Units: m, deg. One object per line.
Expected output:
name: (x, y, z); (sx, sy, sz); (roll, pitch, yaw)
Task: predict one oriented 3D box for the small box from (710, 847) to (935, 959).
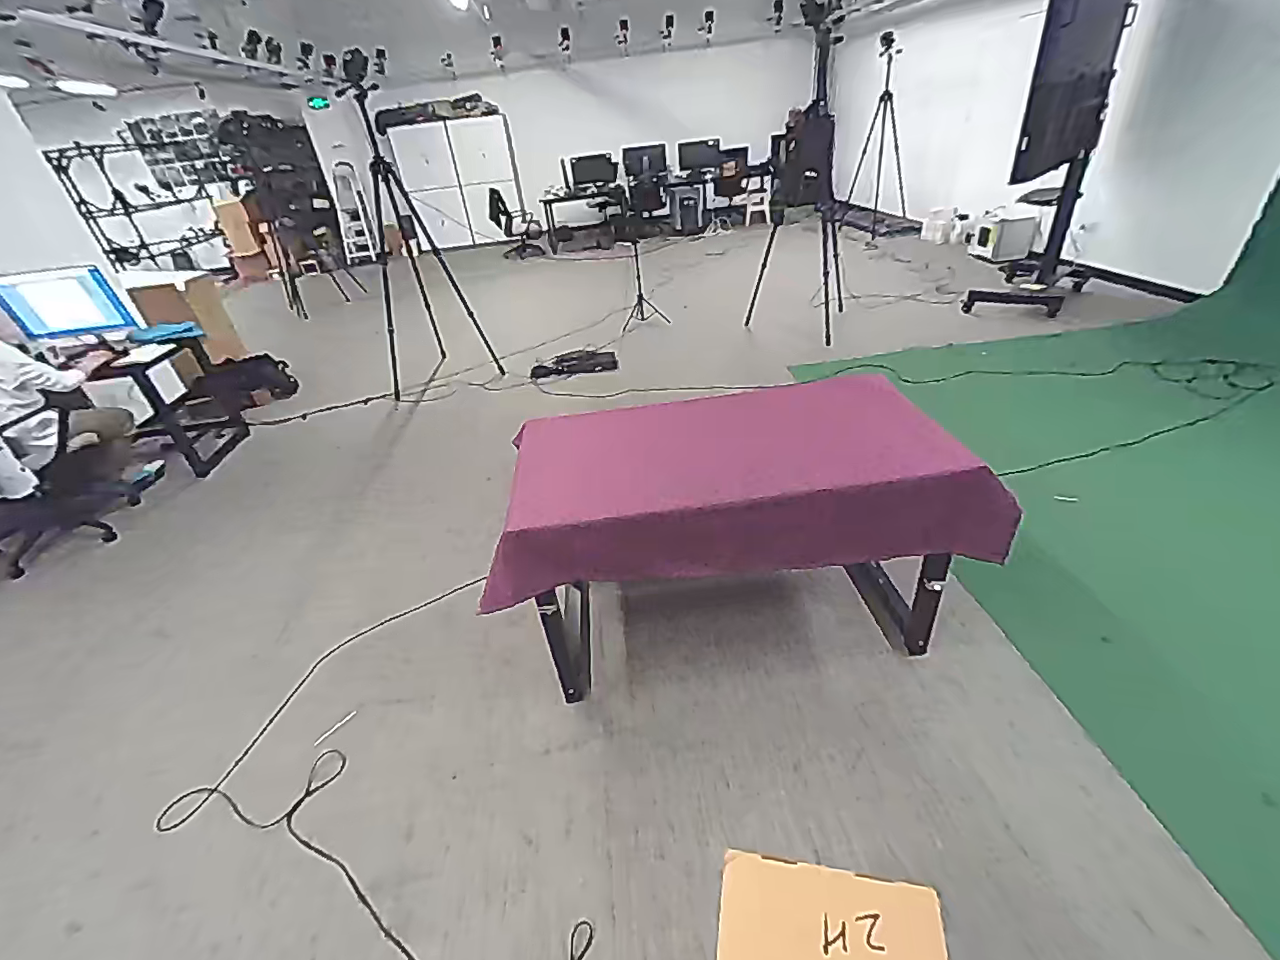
small box: (0.143, 0.440, 0.446); (0.168, 0.176, 0.179); (3, 44, 13)
